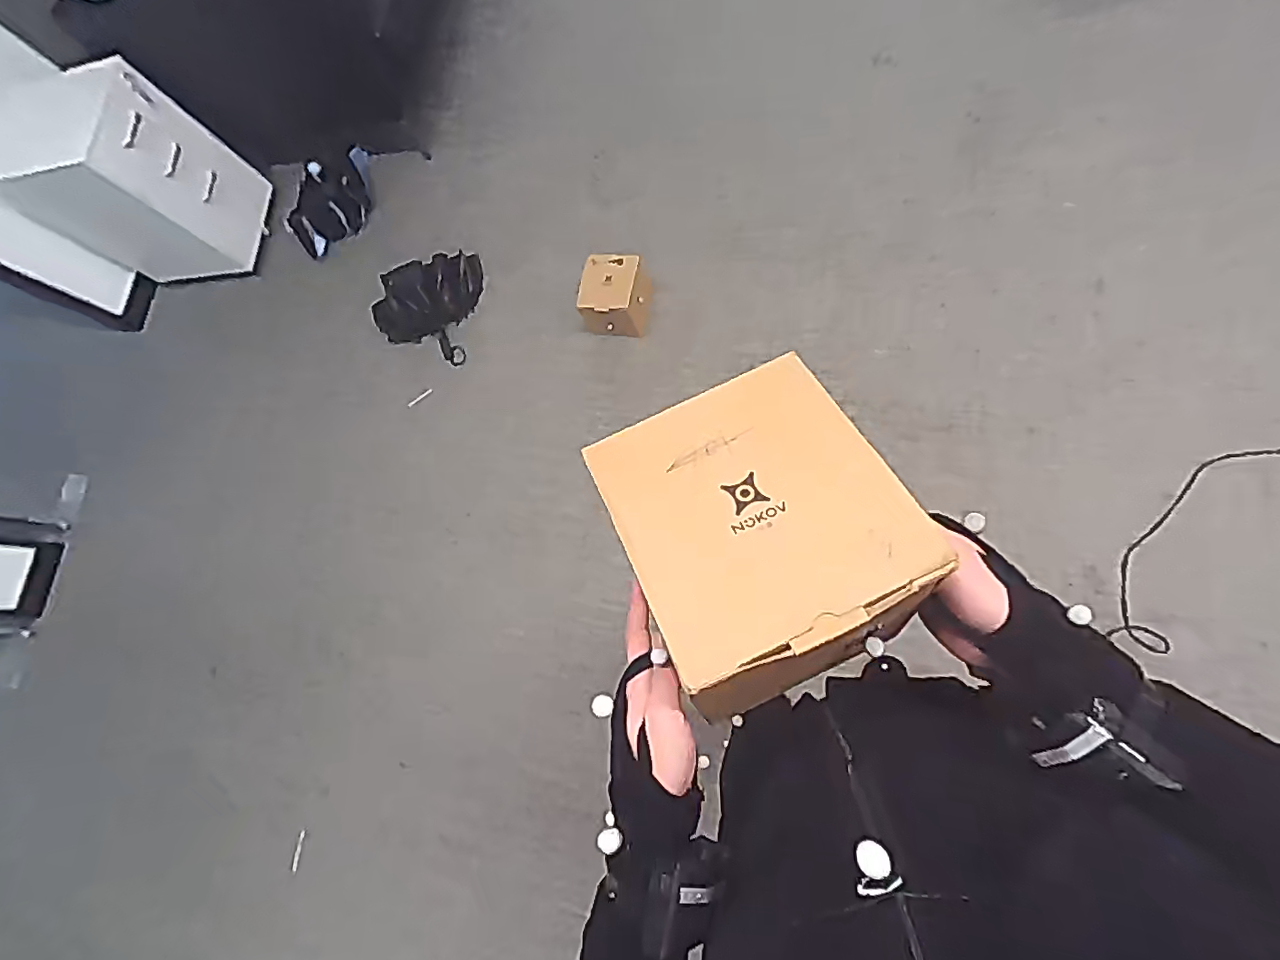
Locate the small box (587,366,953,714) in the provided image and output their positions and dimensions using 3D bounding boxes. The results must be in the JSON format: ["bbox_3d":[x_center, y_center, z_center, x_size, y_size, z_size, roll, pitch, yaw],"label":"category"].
[{"bbox_3d":[0.083,0.056,0.401,0.168,0.176,0.179,-25,58,-3],"label":"small box"}]
